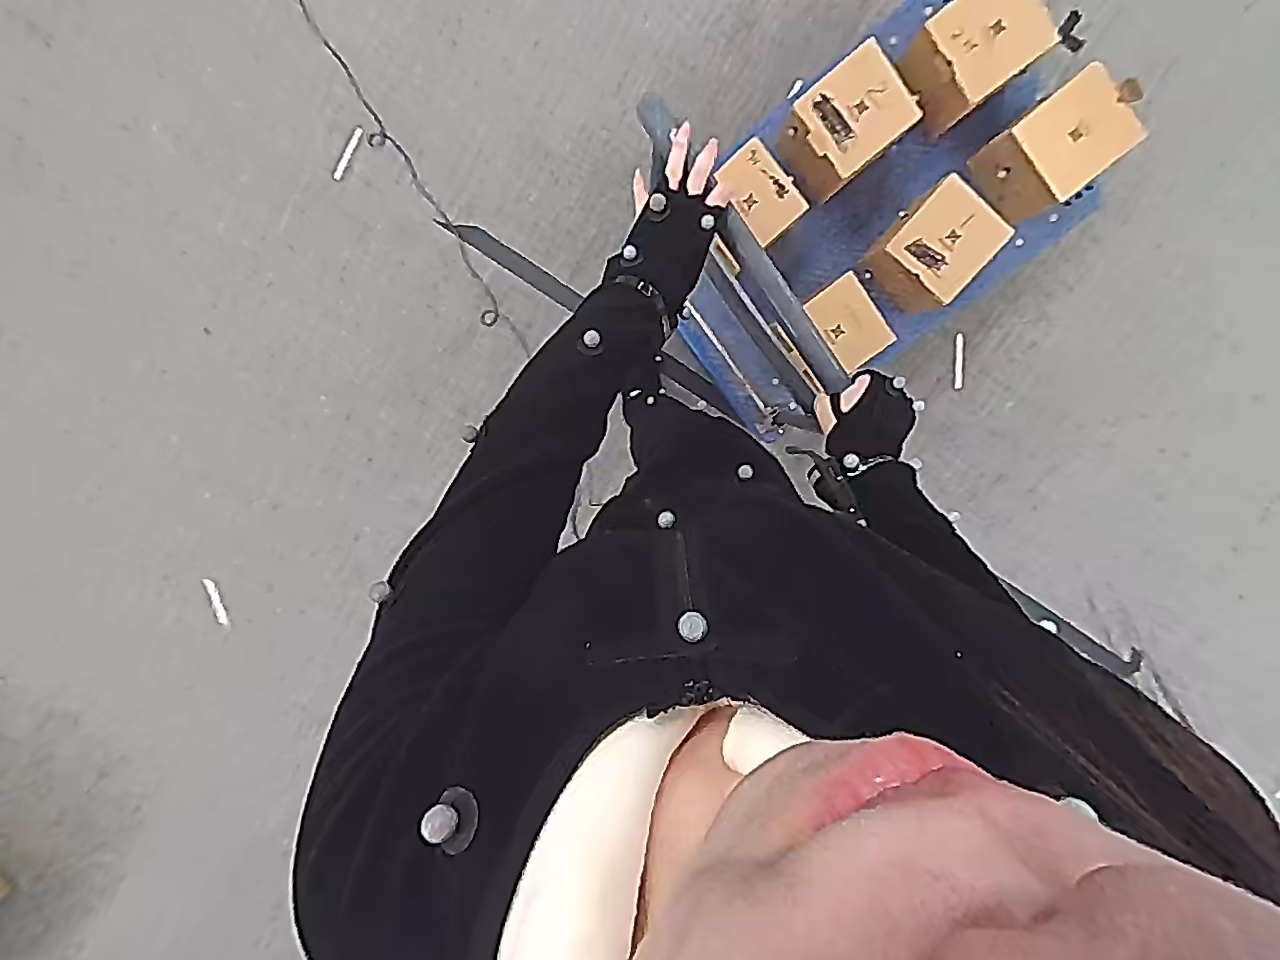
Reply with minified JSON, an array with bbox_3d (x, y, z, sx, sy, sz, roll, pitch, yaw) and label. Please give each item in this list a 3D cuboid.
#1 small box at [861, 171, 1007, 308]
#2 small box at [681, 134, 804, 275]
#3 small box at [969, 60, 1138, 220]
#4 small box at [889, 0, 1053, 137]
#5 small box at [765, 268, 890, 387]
[{"bbox_3d":[0.579,-0.473,1.100,0.168,0.176,0.179,41,99,-6],"label":"small box"},{"bbox_3d":[0.199,-0.545,1.101,0.179,0.176,0.168,-39,98,9],"label":"small box"},{"bbox_3d":[0.786,-0.645,1.056,0.179,0.176,0.168,-39,97,9],"label":"small box"},{"bbox_3d":[0.617,-0.807,1.029,0.179,0.176,0.168,-34,98,9],"label":"small box"},{"bbox_3d":[0.382,-0.313,1.143,0.179,0.176,0.168,-36,99,8],"label":"small box"}]
